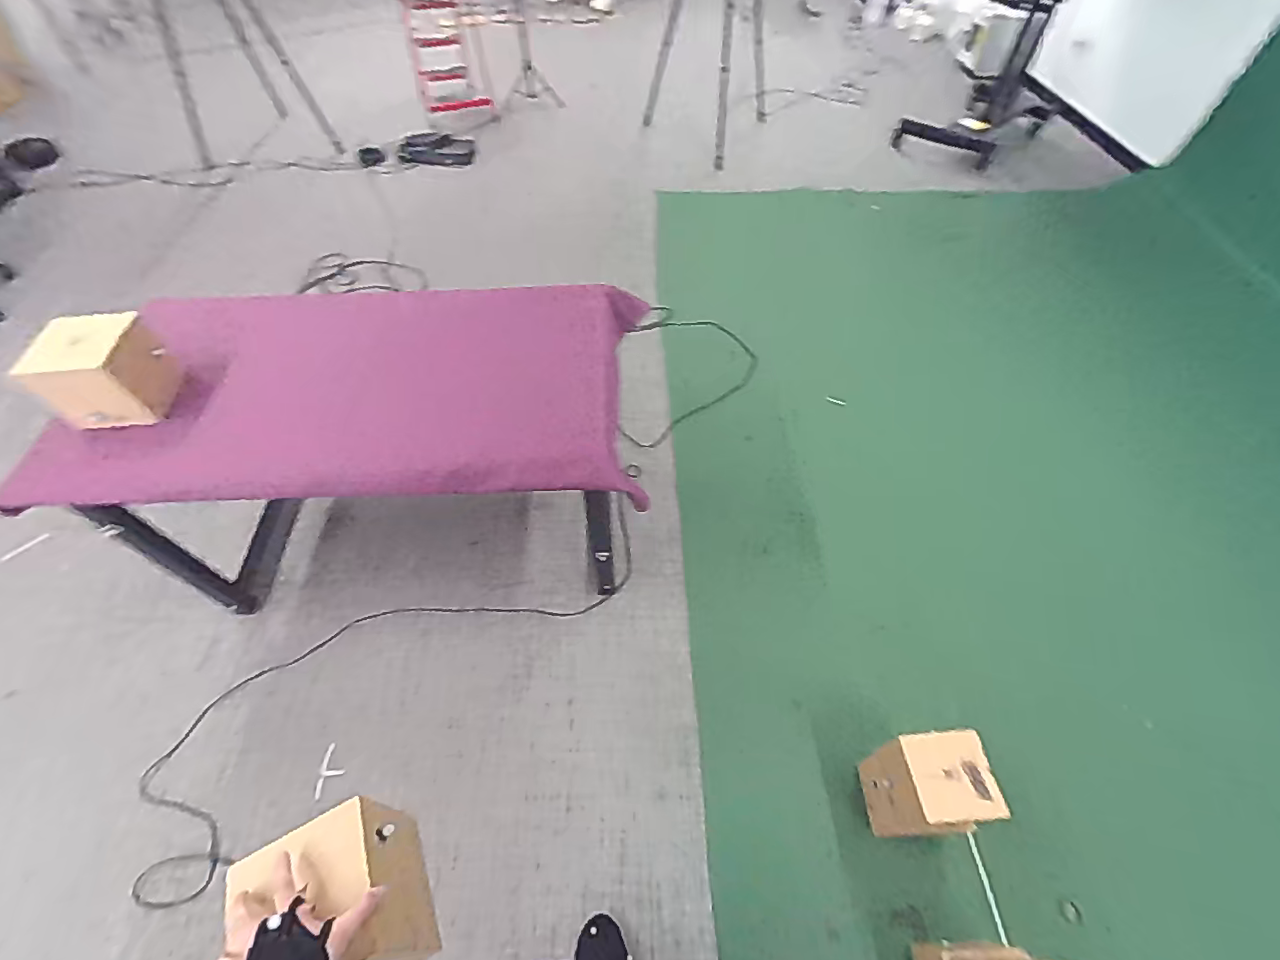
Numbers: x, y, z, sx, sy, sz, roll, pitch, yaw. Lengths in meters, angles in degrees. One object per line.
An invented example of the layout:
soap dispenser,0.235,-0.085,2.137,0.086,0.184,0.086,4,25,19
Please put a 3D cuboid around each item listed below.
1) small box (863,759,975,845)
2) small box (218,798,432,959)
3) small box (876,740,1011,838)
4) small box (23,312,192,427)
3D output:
small box,0.660,0.783,1.312,0.179,0.176,0.168,0,53,0
small box,-0.388,0.545,0.682,0.168,0.176,0.179,-26,51,-11
small box,0.652,0.678,1.185,0.179,0.176,0.168,-3,53,-2
small box,-1.122,-0.236,1.162,0.168,0.176,0.179,-5,54,-3
